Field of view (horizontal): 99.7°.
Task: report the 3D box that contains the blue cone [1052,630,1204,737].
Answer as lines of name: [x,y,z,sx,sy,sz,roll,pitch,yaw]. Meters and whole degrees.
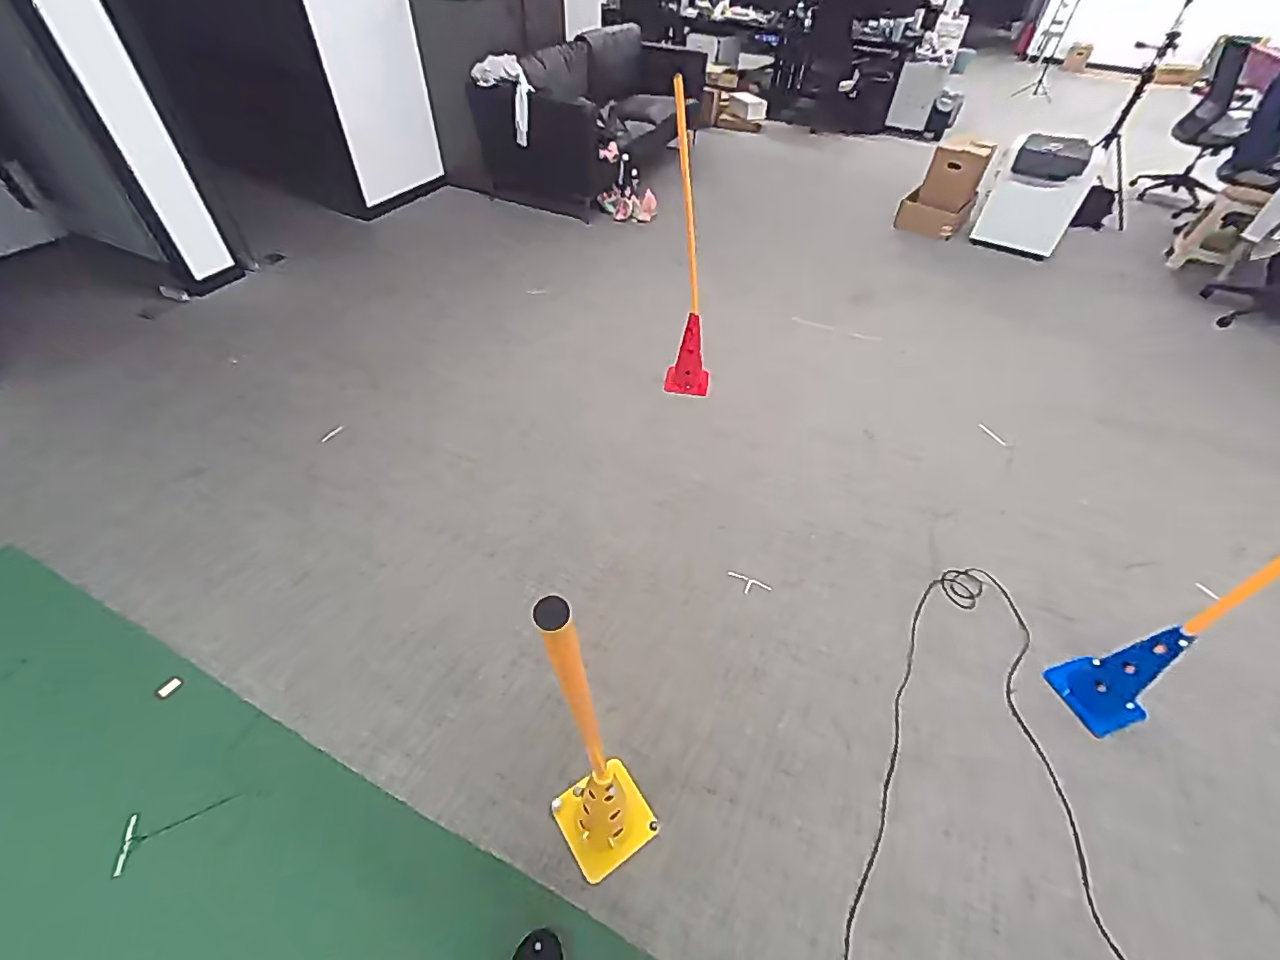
blue cone: [1.323,0.504,1.439,0.193,0.380,0.192,-11,47,-17]
